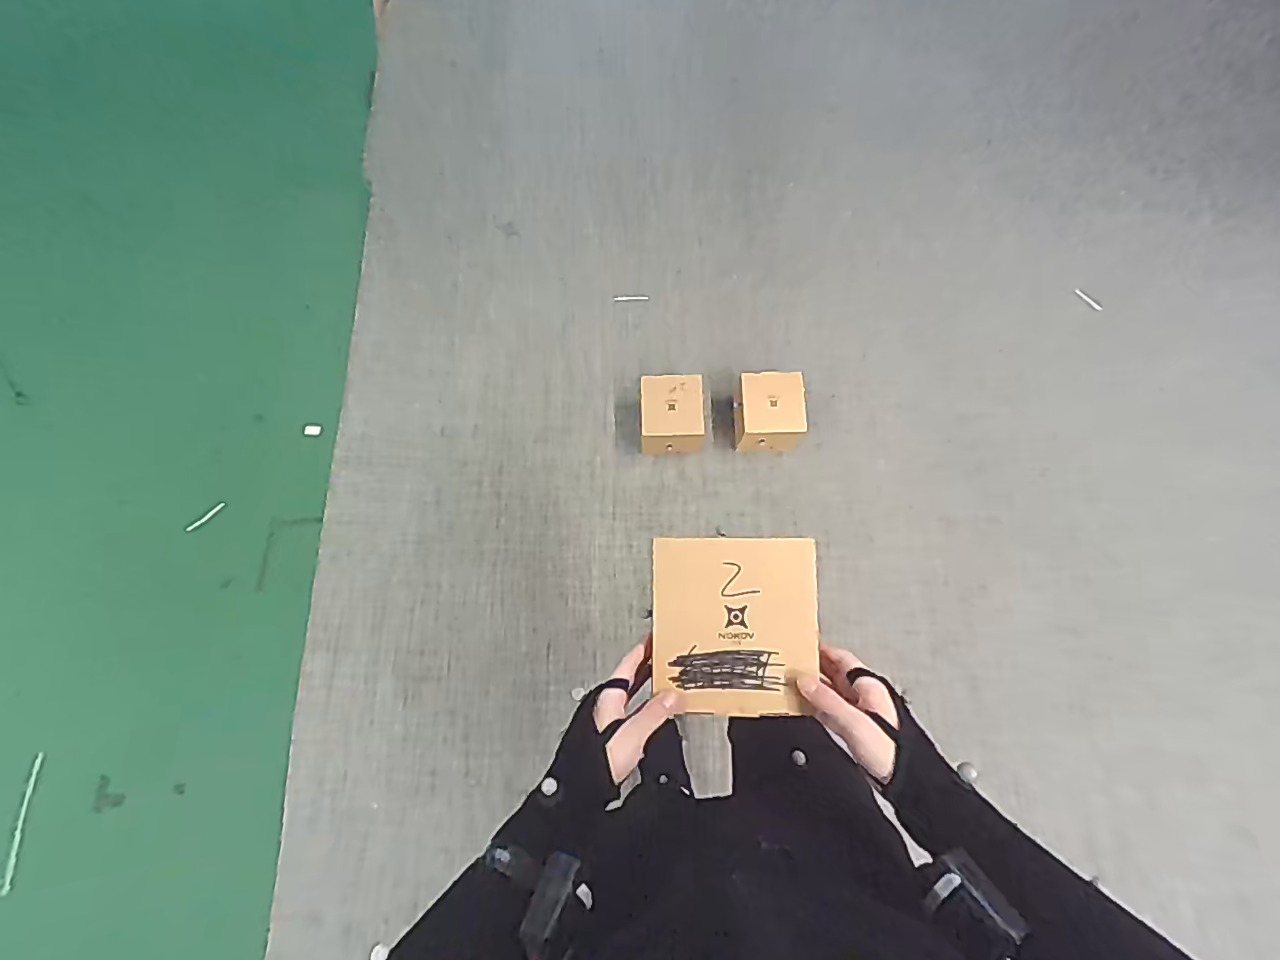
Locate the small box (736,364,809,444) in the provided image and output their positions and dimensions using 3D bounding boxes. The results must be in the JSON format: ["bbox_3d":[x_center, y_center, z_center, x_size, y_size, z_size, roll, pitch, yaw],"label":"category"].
[{"bbox_3d":[0.357,-0.203,1.483,0.168,0.176,0.179,1,75,2],"label":"small box"}]

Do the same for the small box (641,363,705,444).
[{"bbox_3d":[0.089,-0.204,1.485,0.168,0.176,0.179,1,75,1],"label":"small box"}]
